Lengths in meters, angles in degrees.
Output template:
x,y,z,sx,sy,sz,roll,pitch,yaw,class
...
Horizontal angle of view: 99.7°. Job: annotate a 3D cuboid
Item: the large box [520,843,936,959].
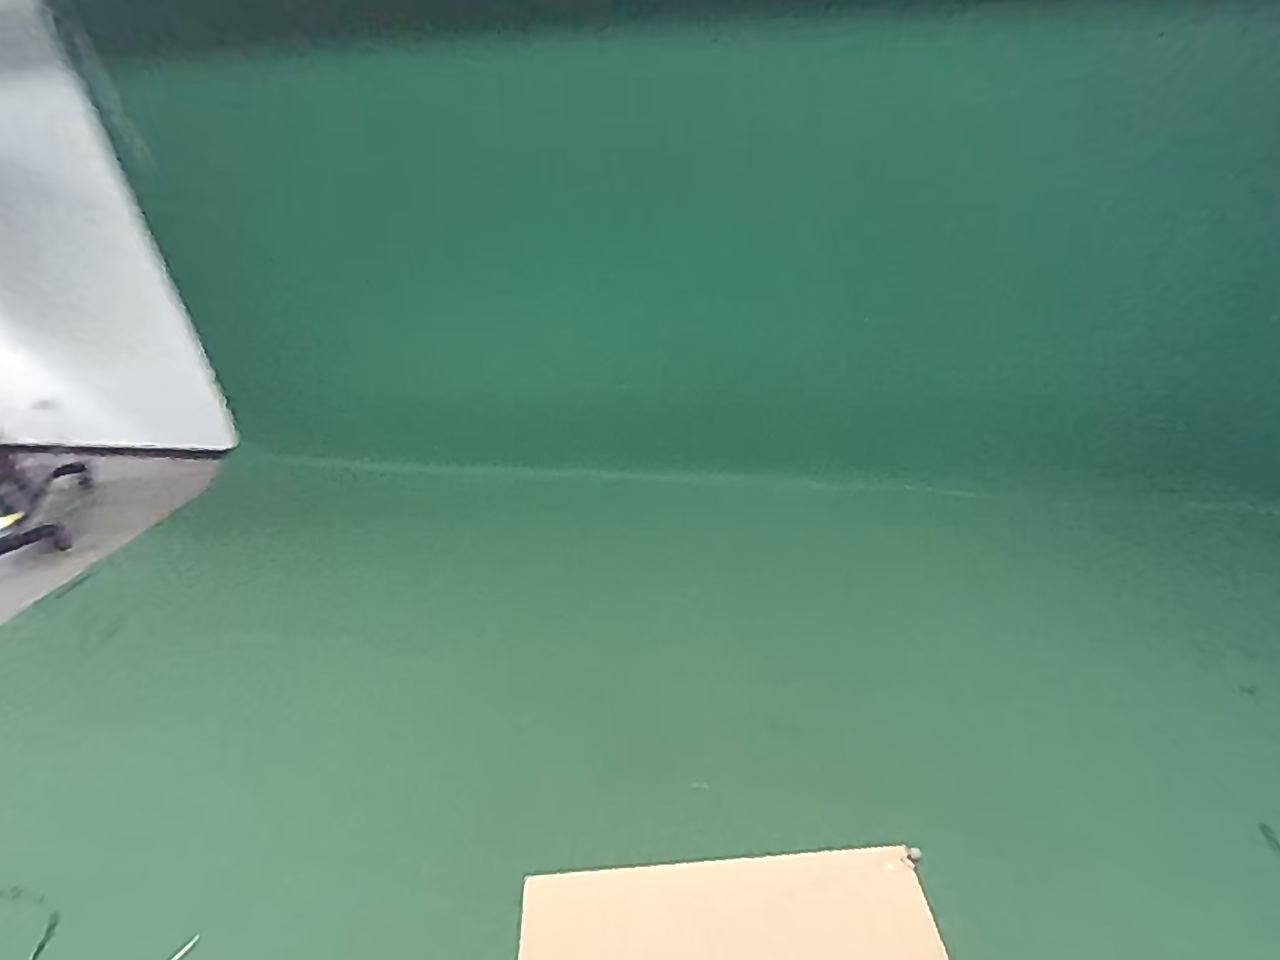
x,y,z,sx,sy,sz,roll,pitch,yaw,class
0.092,0.624,0.554,0.408,0.320,0.320,-4,39,-3,large box
